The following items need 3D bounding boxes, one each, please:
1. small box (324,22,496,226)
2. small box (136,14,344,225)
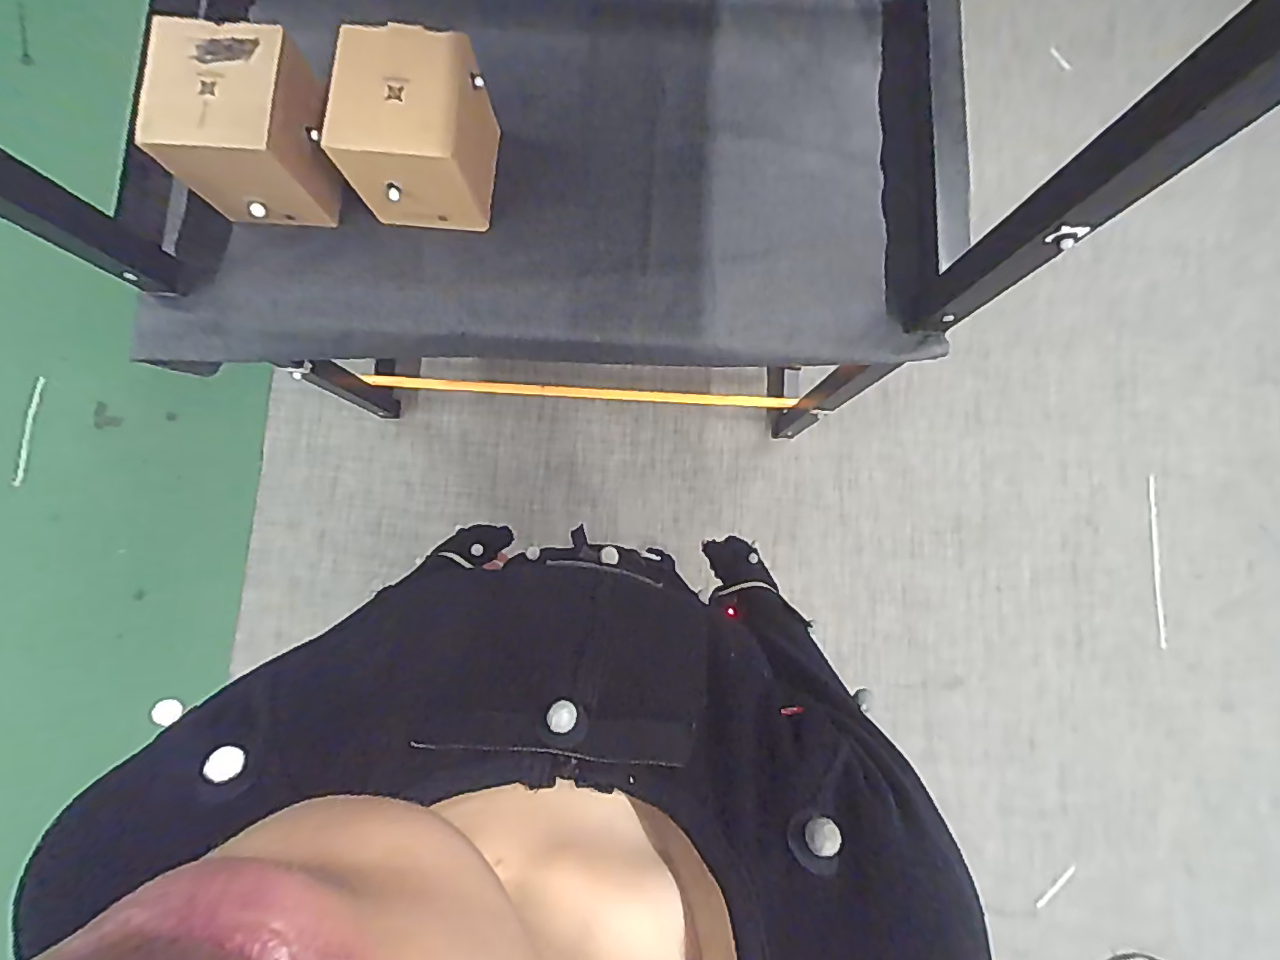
[{"bbox_3d":[-0.309,-0.486,0.763,0.168,0.176,0.179,4,83,-1],"label":"small box"},{"bbox_3d":[-0.536,-0.491,0.756,0.168,0.176,0.179,3,83,-1],"label":"small box"}]
